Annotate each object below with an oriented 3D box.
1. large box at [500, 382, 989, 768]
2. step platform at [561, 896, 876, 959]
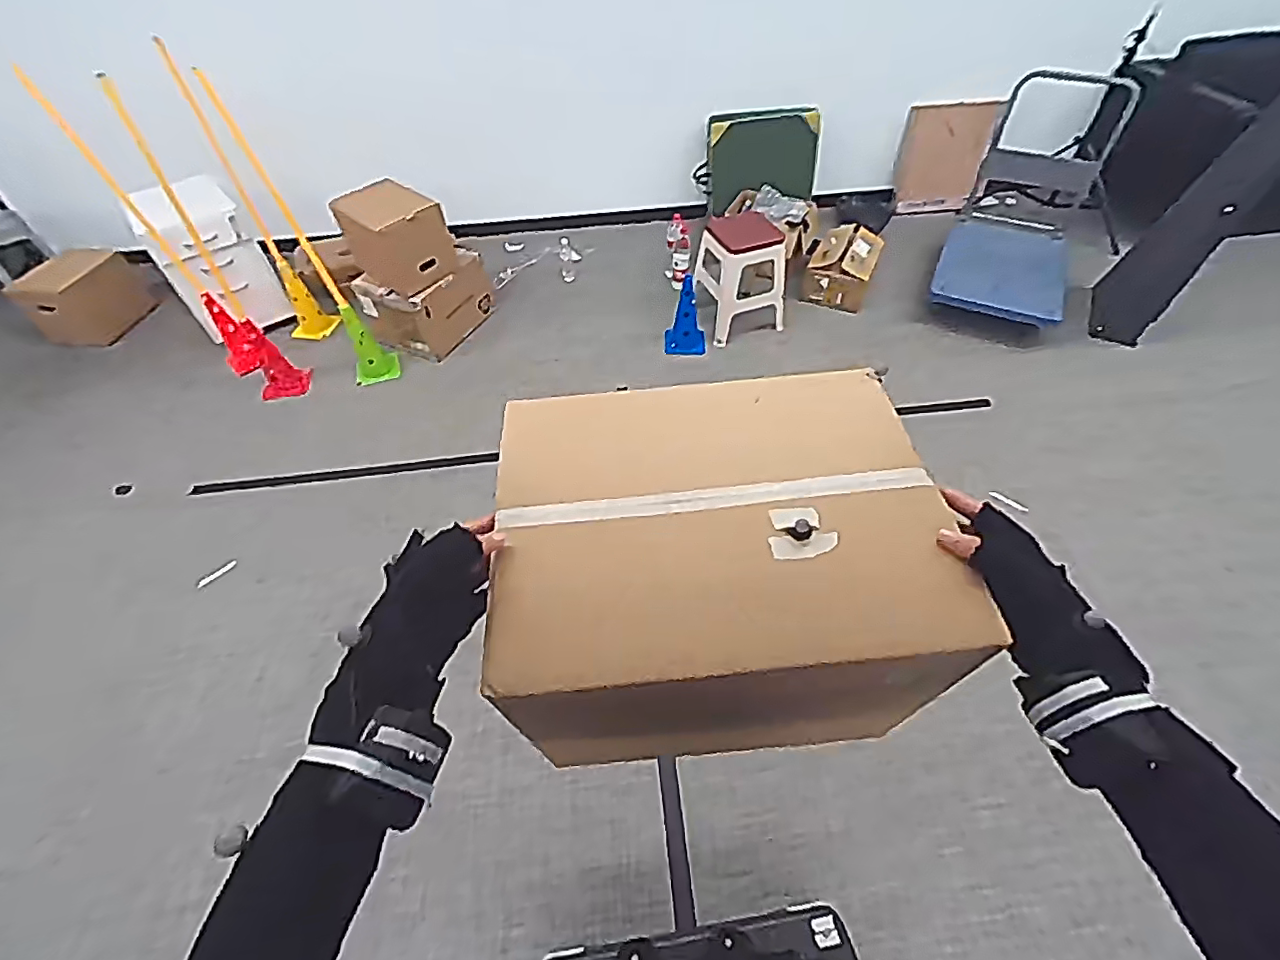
[{"bbox_3d":[0.075,0.119,0.634,0.408,0.320,0.320,-5,53,-1],"label":"large box"},{"bbox_3d":[0.164,1.102,1.125,0.684,0.204,0.286,-8,51,-5],"label":"step platform"}]
